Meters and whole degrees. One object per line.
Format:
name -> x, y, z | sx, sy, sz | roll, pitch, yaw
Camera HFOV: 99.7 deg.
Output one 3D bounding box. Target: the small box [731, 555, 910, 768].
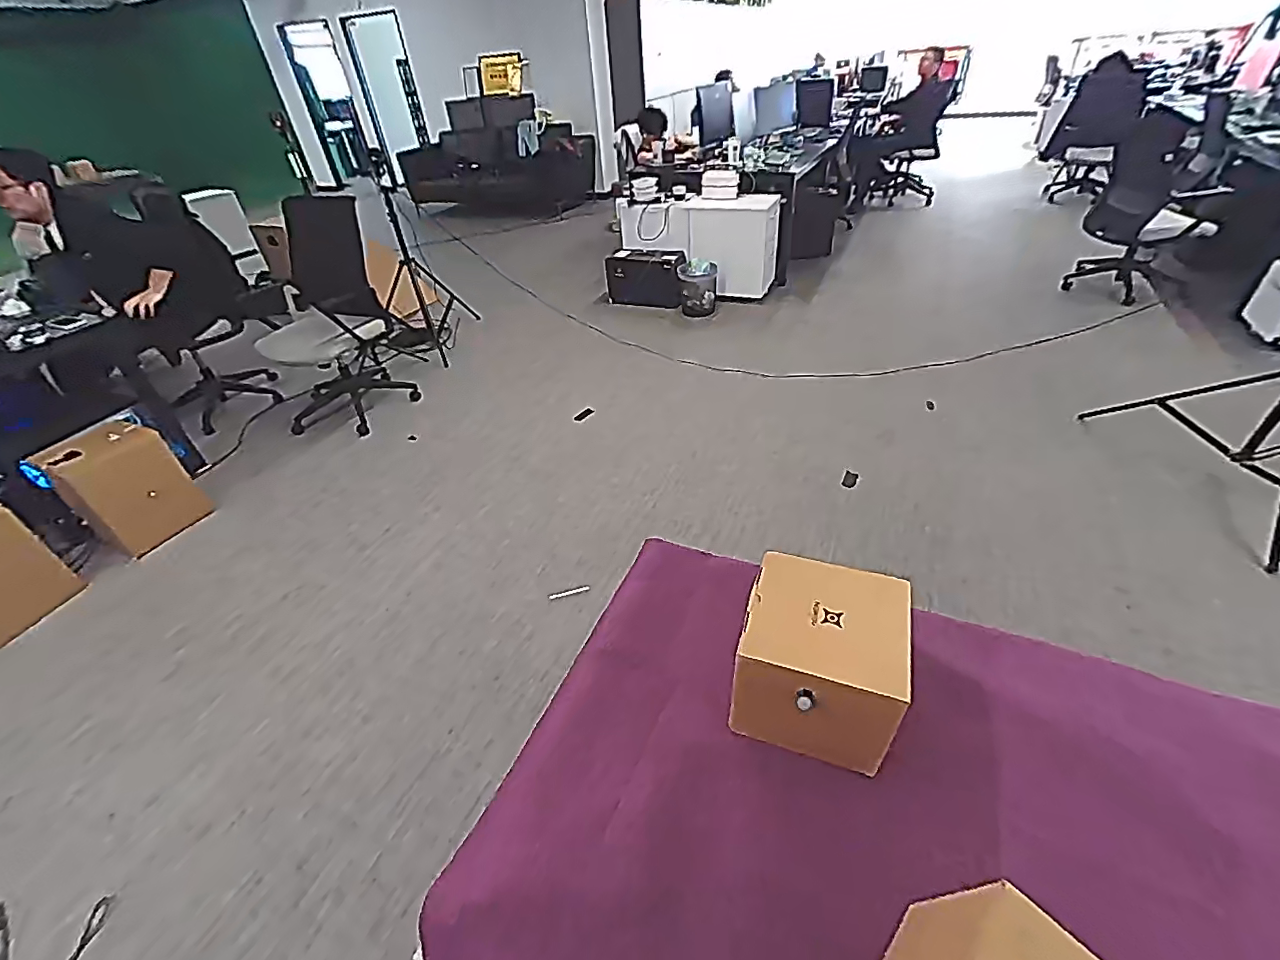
small box -> 0.218, 0.223, 0.668 | 0.179, 0.176, 0.168 | 10, 41, 19
